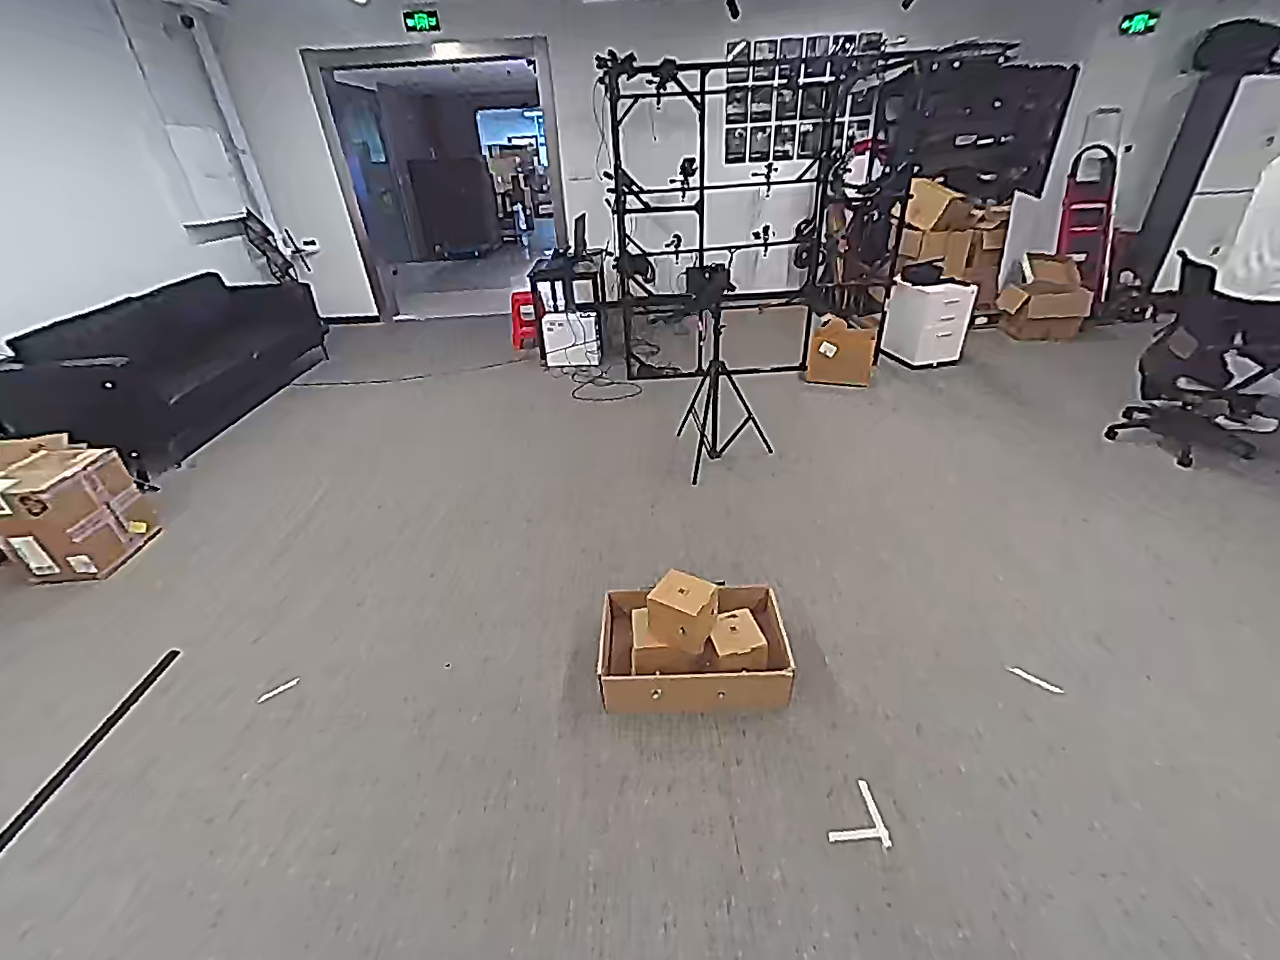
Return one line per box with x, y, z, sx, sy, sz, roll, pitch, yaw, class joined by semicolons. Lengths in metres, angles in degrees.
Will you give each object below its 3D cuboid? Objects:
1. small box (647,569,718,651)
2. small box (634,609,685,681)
0.140;0.423;1.747;0.179;0.176;0.168;14;33;29;small box
0.061;0.560;1.842;0.168;0.176;0.179;-3;31;-1;small box
